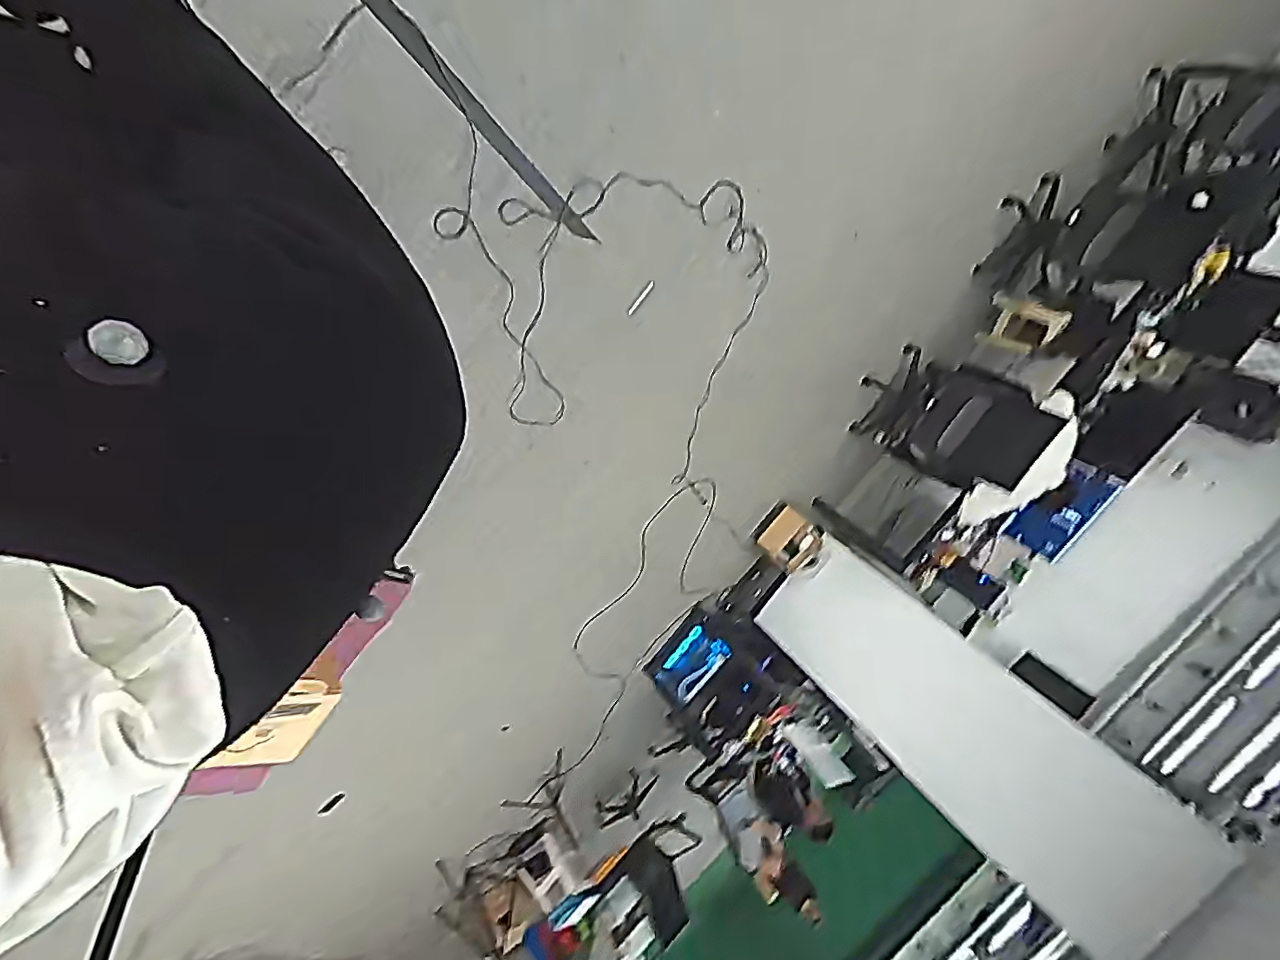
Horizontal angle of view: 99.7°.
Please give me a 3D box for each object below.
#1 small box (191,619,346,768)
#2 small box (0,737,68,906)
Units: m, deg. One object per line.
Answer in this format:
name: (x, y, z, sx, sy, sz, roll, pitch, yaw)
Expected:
small box: (-0.659, 0.369, 0.953, 0.179, 0.176, 0.168, -51, 140, 8)
small box: (-0.980, 0.500, 0.777, 0.179, 0.176, 0.168, -50, 140, 4)
